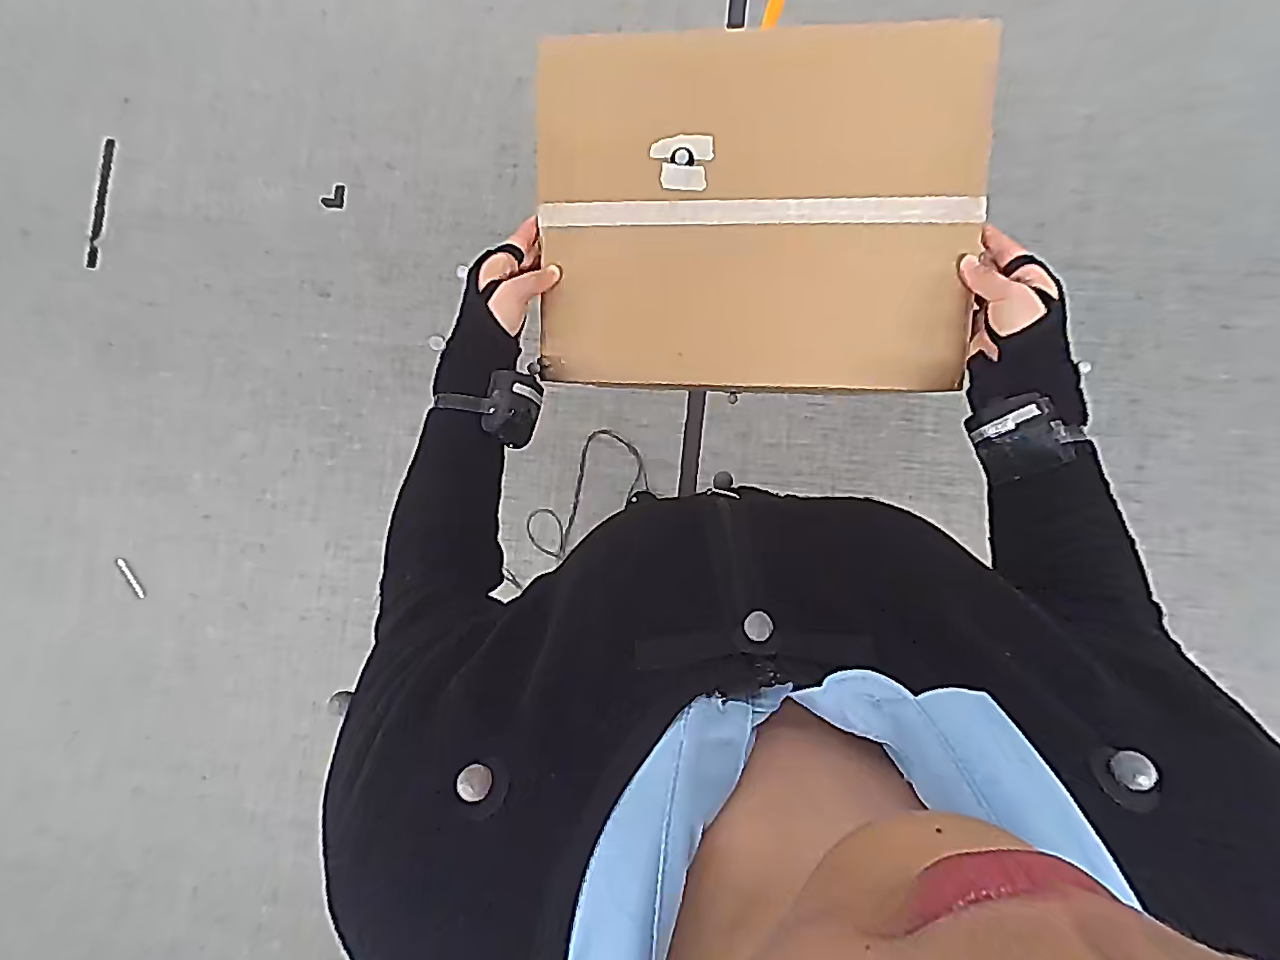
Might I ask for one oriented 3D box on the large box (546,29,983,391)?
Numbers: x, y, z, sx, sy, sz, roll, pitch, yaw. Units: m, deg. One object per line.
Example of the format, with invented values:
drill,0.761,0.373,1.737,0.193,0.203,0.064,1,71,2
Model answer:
large box,0.125,-0.268,0.662,0.408,0.320,0.320,1,97,6
